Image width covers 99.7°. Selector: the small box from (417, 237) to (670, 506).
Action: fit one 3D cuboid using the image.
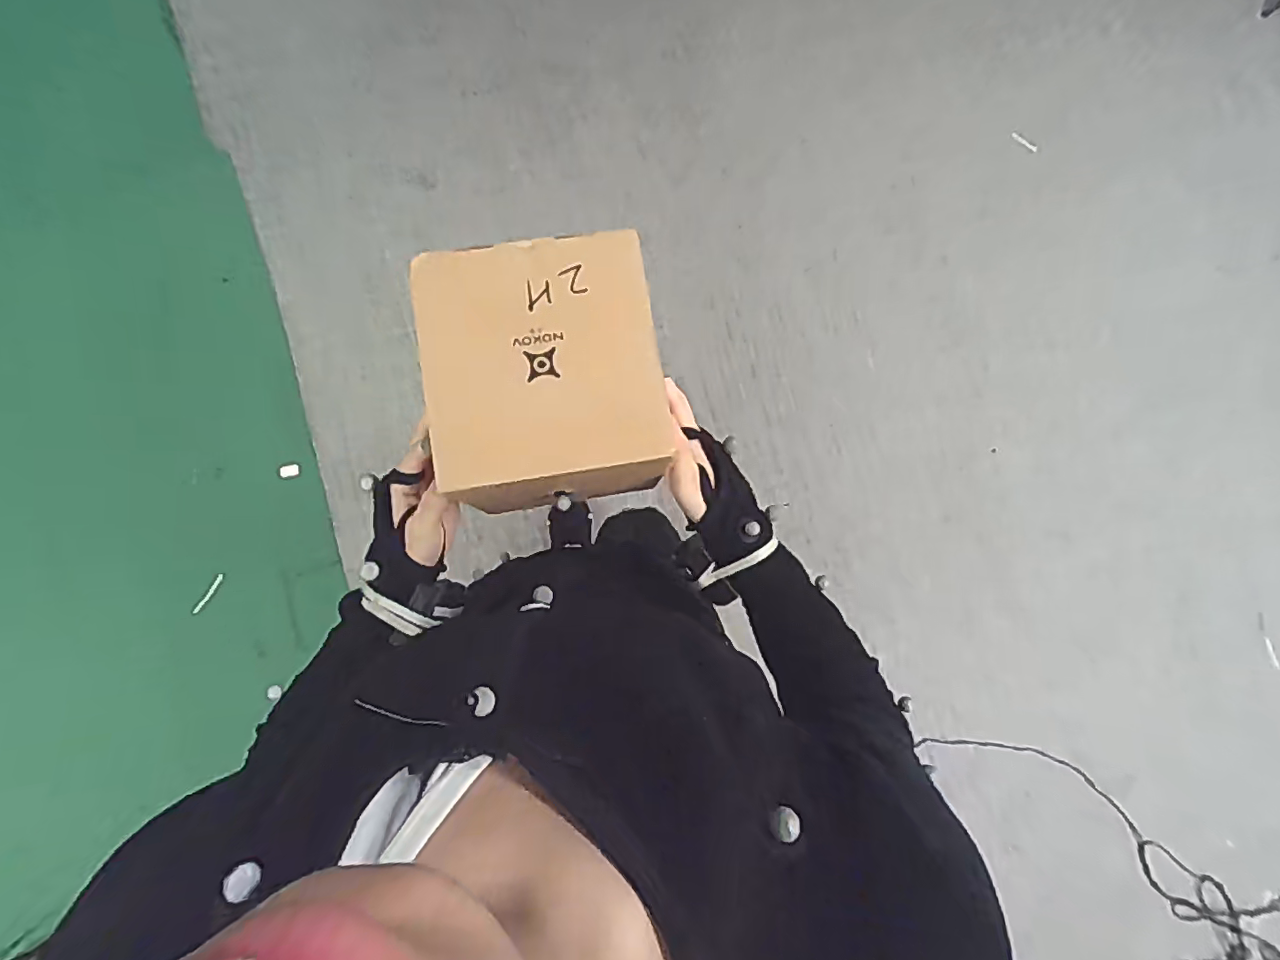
[{"bbox_3d":[-0.075,-0.076,0.466,0.168,0.176,0.179,-8,81,-6],"label":"small box"}]
